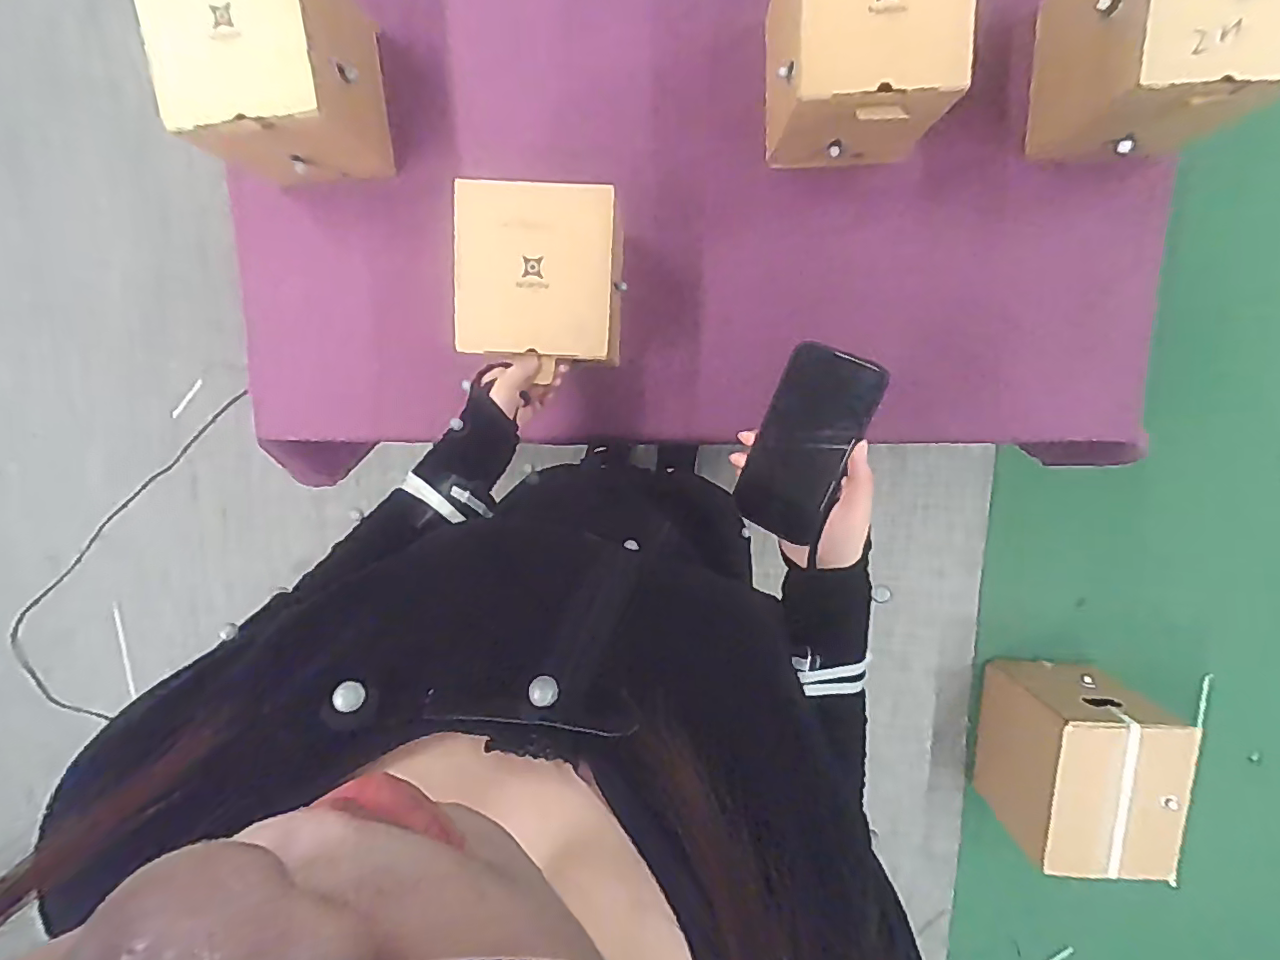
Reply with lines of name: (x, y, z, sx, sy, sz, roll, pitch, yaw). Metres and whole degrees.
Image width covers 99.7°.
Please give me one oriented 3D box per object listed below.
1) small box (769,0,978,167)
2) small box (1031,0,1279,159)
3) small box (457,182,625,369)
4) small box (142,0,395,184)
small box: (0.239, -0.472, 0.591, 0.168, 0.176, 0.179, -2, 100, 2)
small box: (0.557, -0.471, 0.575, 0.168, 0.176, 0.179, 0, 100, 3)
small box: (-0.106, -0.227, 0.644, 0.168, 0.176, 0.179, 4, 99, 1)
small box: (-0.403, -0.456, 0.615, 0.168, 0.176, 0.179, -5, 100, 2)
